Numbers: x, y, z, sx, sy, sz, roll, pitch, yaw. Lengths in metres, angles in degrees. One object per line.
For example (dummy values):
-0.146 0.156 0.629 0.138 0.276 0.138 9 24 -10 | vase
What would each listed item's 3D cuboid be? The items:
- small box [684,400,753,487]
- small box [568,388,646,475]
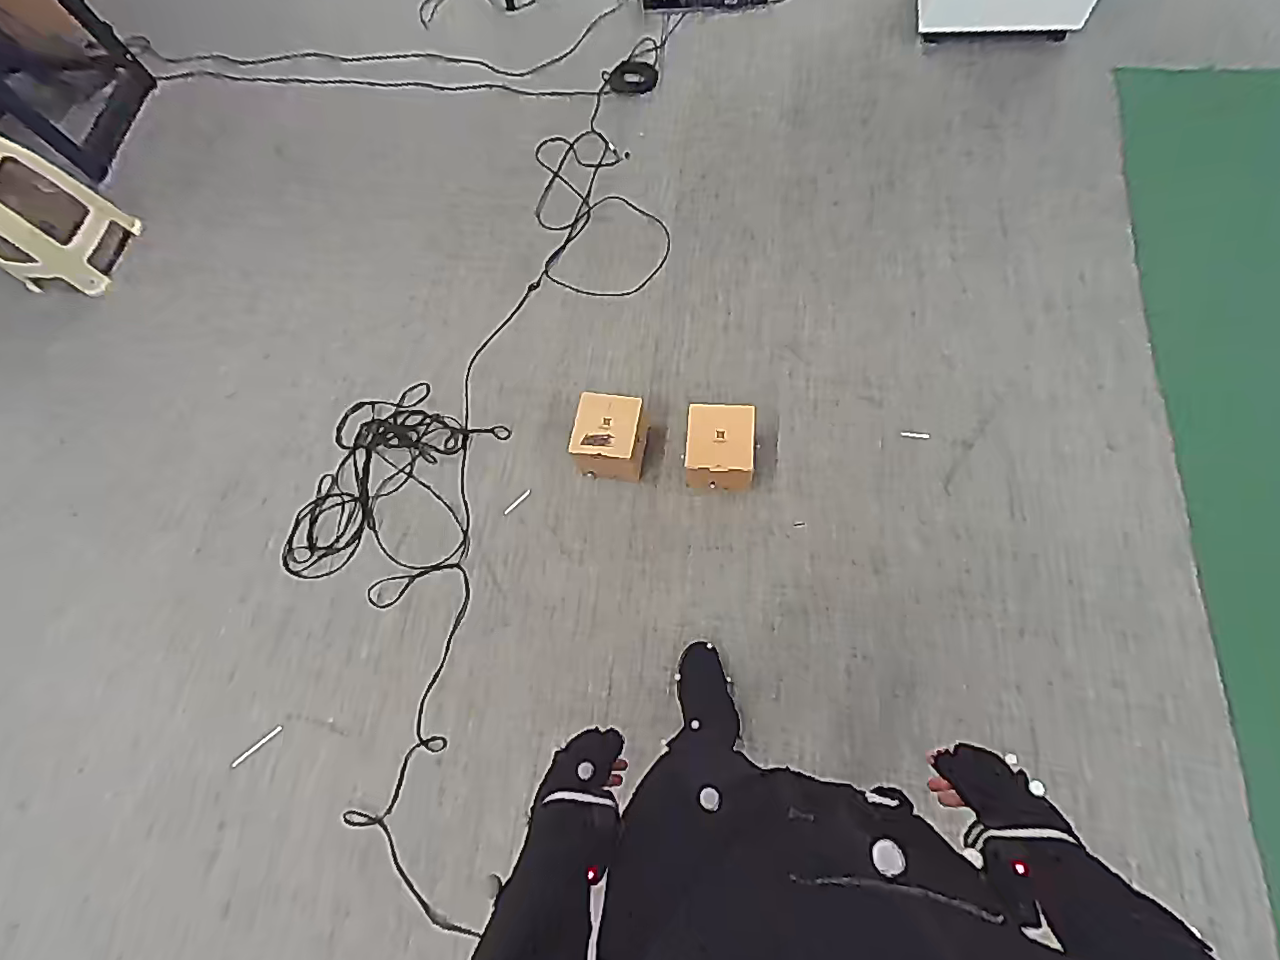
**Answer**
0.204 -0.093 1.417 0.168 0.176 0.179 3 72 8 | small box
-0.081 -0.125 1.462 0.168 0.176 0.179 7 71 10 | small box
